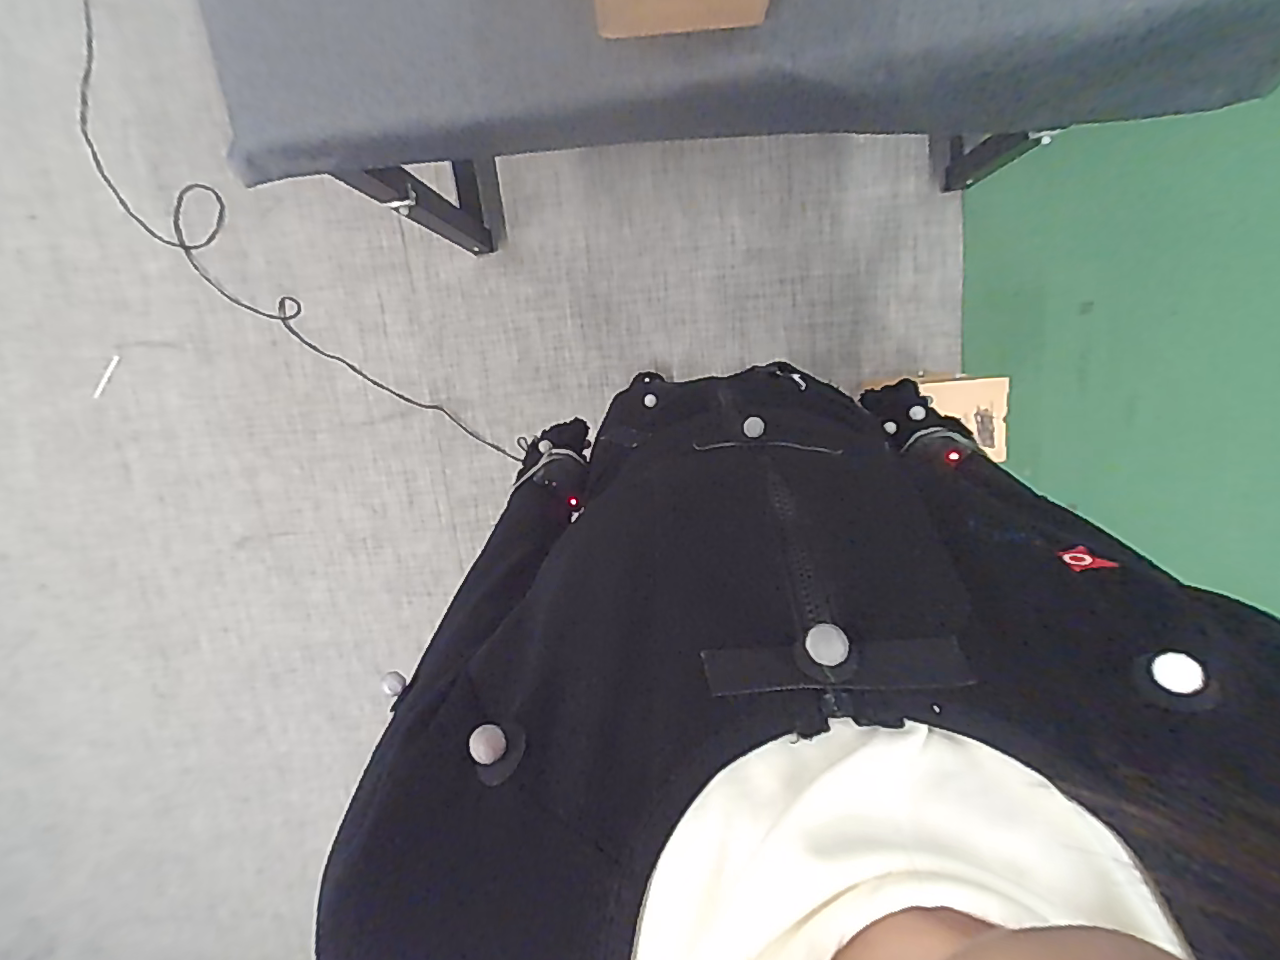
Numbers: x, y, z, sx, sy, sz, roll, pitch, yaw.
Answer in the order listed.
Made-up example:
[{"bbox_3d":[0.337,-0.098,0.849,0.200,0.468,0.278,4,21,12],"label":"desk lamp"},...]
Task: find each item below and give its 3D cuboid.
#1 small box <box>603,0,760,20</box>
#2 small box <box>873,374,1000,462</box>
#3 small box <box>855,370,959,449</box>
[{"bbox_3d":[0.040,-0.558,0.485,0.179,0.176,0.168,-2,102,3],"label":"small box"},{"bbox_3d":[0.610,-0.135,1.131,0.179,0.176,0.168,-3,101,4],"label":"small box"},{"bbox_3d":[0.630,-0.171,1.291,0.179,0.176,0.168,-5,101,5],"label":"small box"}]
